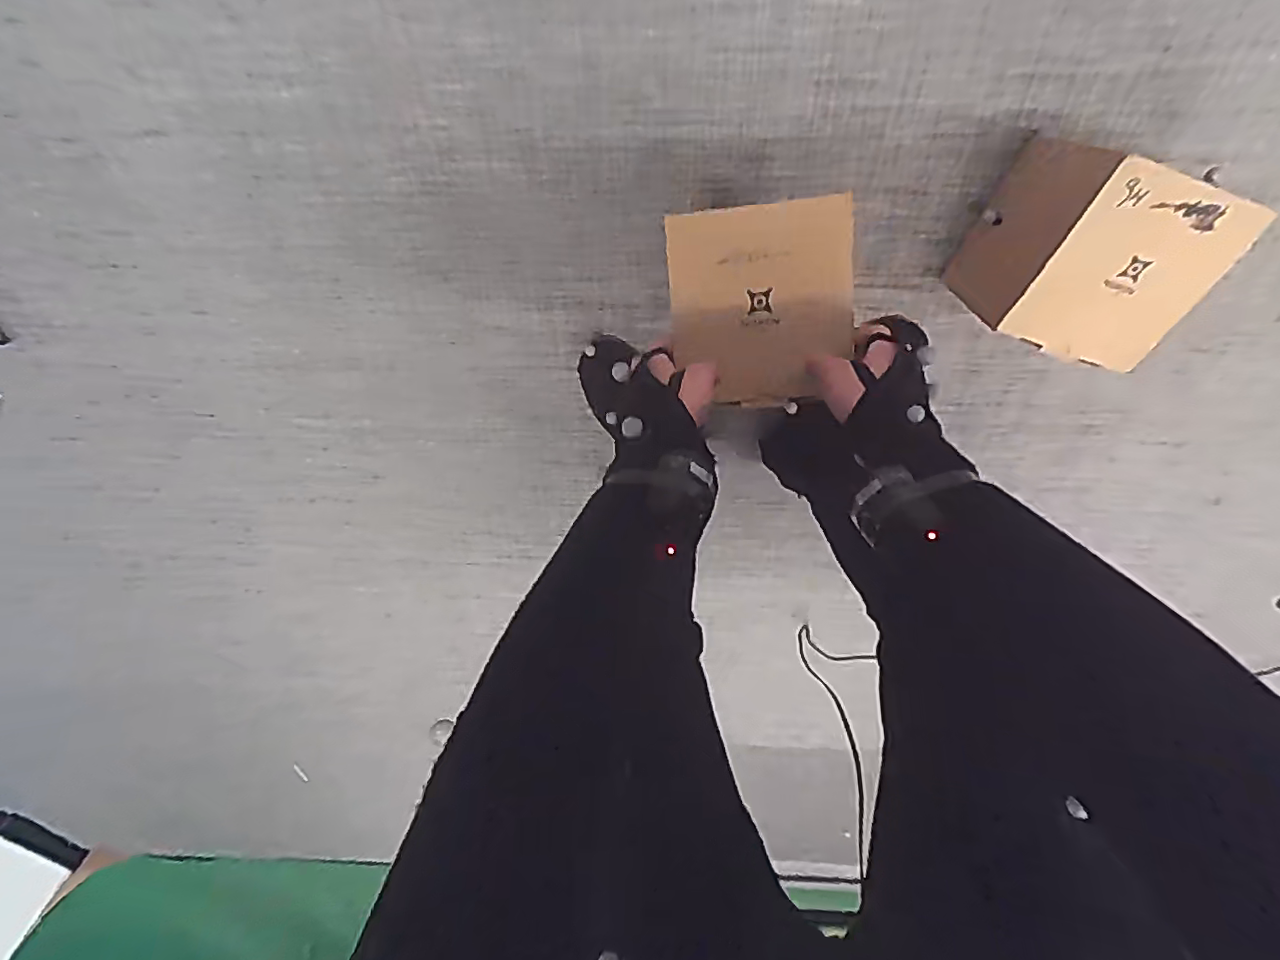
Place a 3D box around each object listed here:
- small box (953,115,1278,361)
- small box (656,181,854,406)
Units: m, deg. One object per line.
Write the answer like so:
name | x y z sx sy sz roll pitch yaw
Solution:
small box | 0.477 -0.264 0.587 0.168 0.176 0.179 15 129 -7
small box | 0.111 -0.173 0.554 0.168 0.176 0.179 -5 97 7
